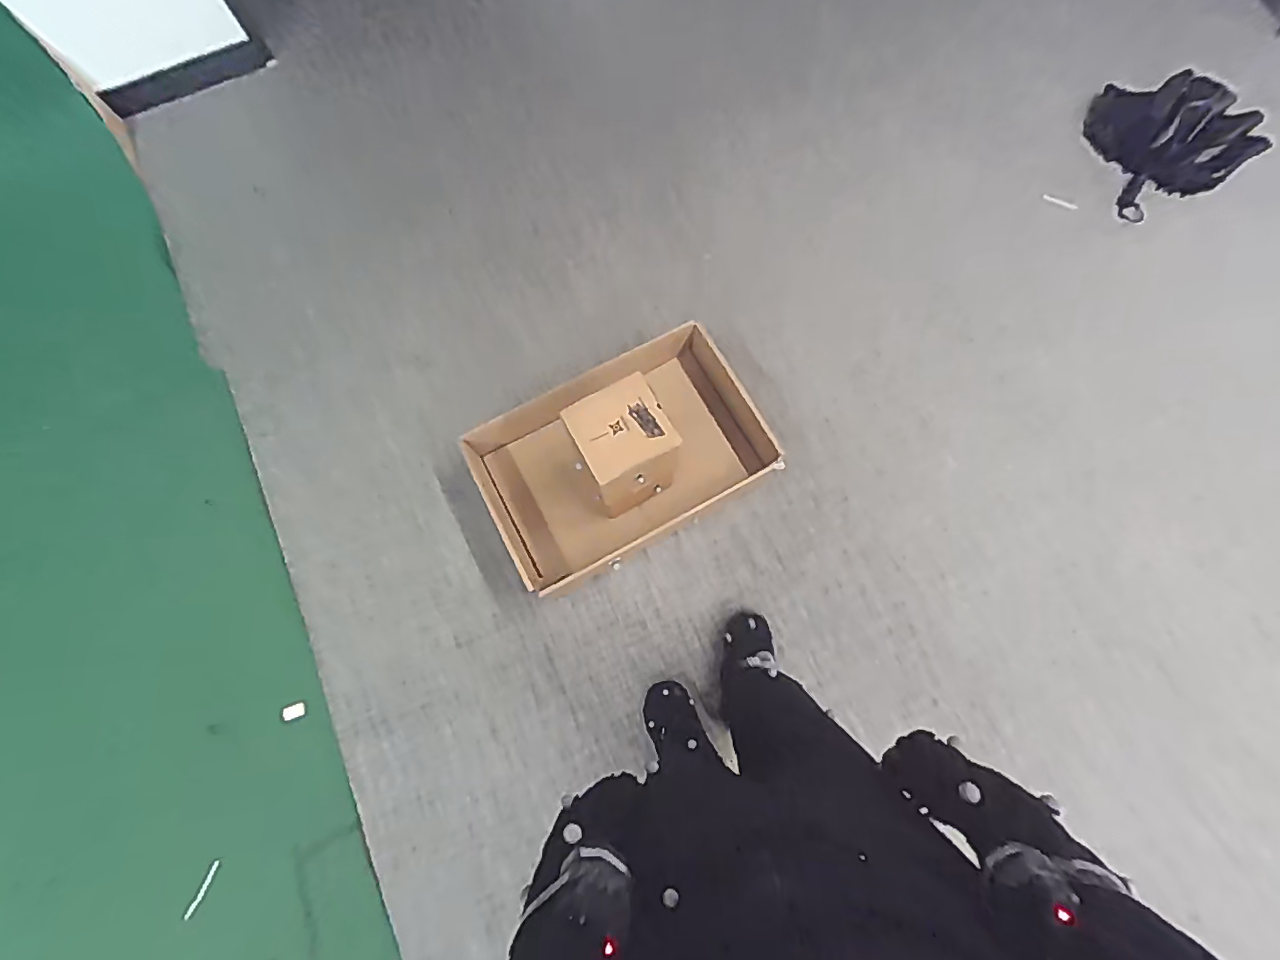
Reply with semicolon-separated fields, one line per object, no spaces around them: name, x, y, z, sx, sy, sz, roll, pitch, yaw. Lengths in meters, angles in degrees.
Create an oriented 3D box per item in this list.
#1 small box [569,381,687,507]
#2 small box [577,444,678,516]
small box;-0.024;-0.066;1.095;0.179;0.176;0.168;-27;76;-6
small box;-0.025;-0.032;1.239;0.168;0.176;0.179;-29;75;-7
